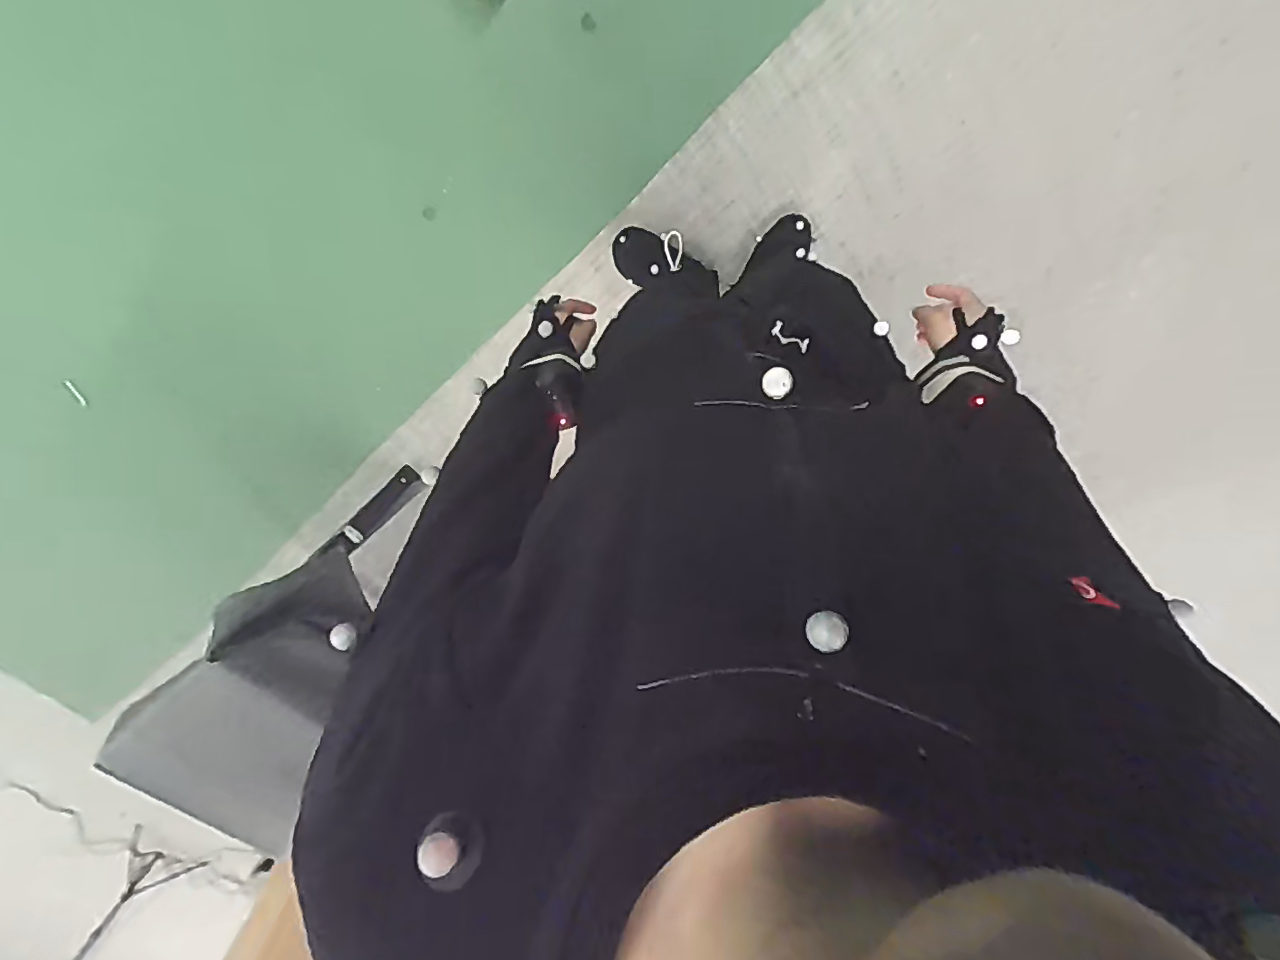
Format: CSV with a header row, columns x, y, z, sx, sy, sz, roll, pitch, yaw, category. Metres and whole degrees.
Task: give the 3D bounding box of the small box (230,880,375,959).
x,y,z,sx,sy,sz,roll,pitch,yaw,category
-0.599,0.832,0.943,0.179,0.176,0.168,-35,112,26,small box
